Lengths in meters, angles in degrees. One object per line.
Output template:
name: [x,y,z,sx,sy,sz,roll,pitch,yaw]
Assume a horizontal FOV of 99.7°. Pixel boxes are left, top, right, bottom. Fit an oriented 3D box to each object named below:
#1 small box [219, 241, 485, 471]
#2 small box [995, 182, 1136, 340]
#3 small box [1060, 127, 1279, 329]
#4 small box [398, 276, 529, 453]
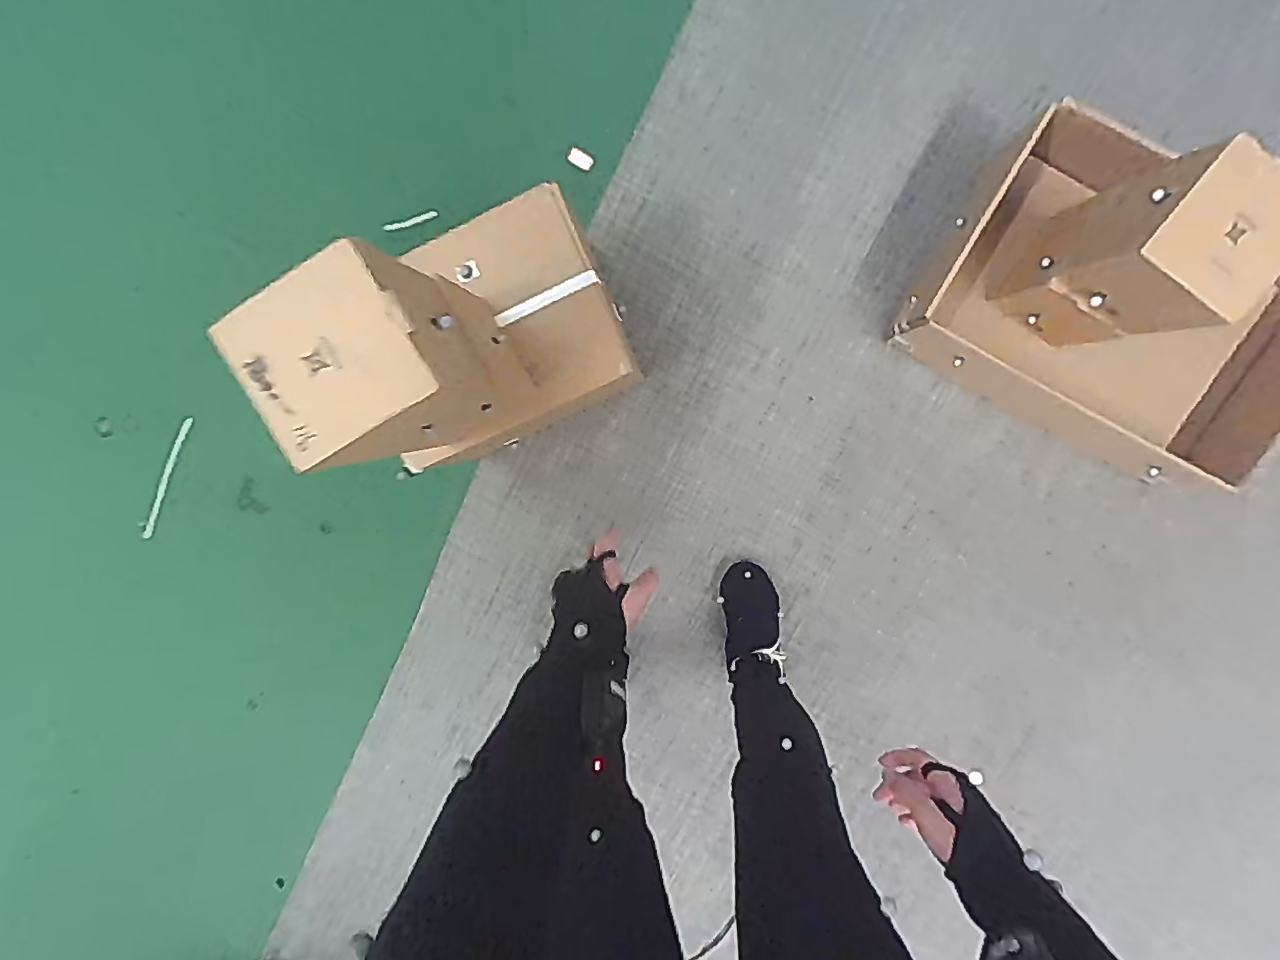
small box: [-0.296,-0.129,0.607,0.179,0.176,0.168,-29,95,6]
small box: [0.764,-0.359,0.925,0.168,0.176,0.179,31,100,-3]
small box: [0.760,-0.337,0.763,0.168,0.176,0.179,35,100,-3]
small box: [-0.275,-0.156,0.767,0.179,0.176,0.168,-30,94,7]
